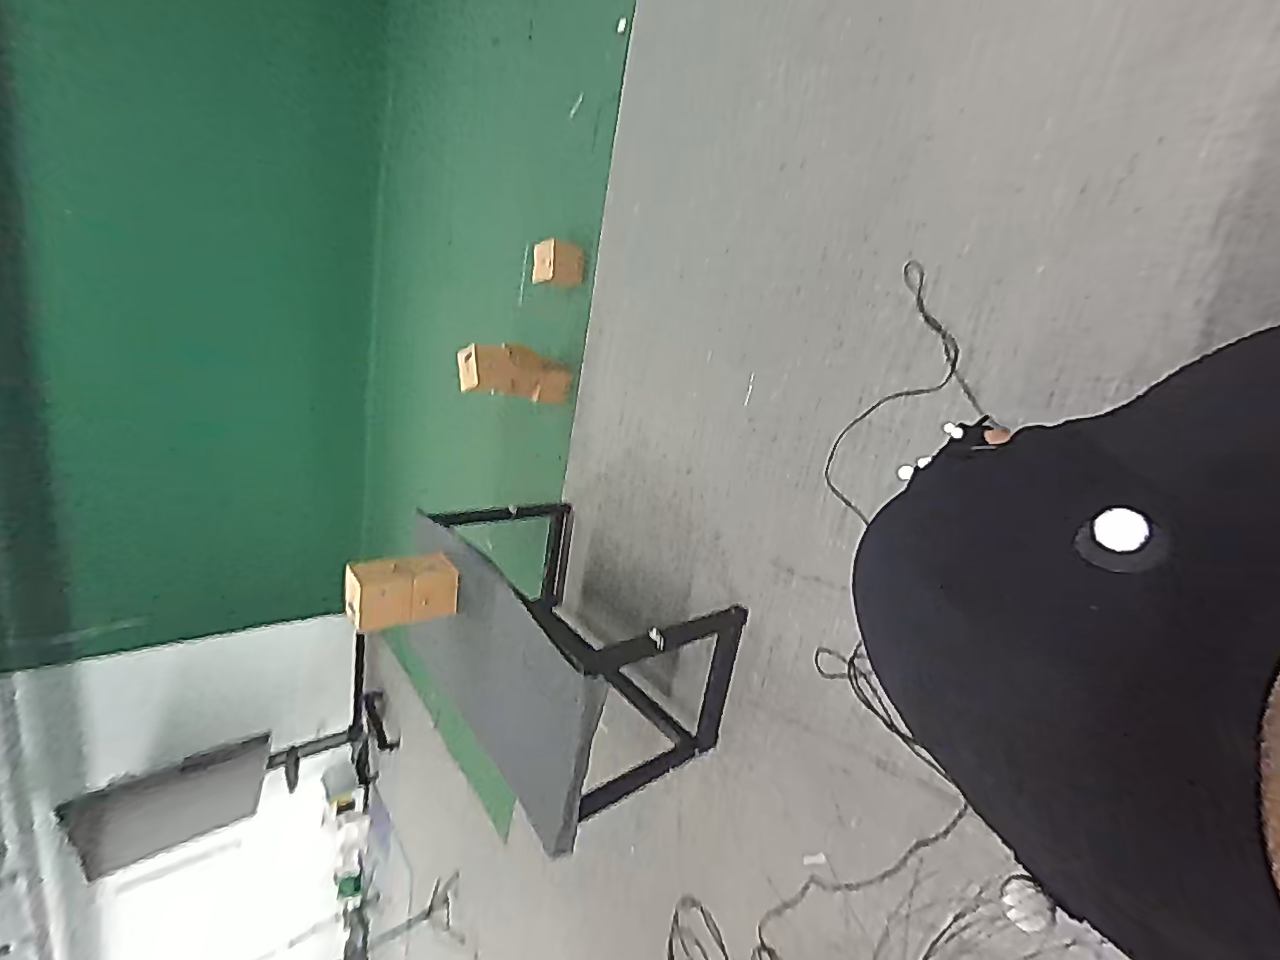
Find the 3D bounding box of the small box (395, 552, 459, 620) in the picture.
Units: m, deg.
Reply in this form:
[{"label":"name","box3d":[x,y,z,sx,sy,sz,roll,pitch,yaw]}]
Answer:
[{"label":"small box","box3d":[-0.770,0.375,1.961,0.168,0.176,0.179,25,112,44]}]

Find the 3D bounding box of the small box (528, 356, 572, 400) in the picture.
[{"label":"small box","box3d":[-0.459,-0.500,2.642,0.179,0.176,0.168,44,123,37]}]

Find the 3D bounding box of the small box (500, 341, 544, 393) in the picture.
[{"label":"small box","box3d":[-0.570,-0.521,2.521,0.168,0.176,0.179,-46,59,37]}]

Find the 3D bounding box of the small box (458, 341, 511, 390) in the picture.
[{"label":"small box","box3d":[-0.693,-0.504,2.412,0.168,0.176,0.179,-8,88,47]}]

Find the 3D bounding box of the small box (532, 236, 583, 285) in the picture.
[{"label":"small box","box3d":[-0.386,-1.018,2.523,0.179,0.176,0.168,13,102,48]}]
